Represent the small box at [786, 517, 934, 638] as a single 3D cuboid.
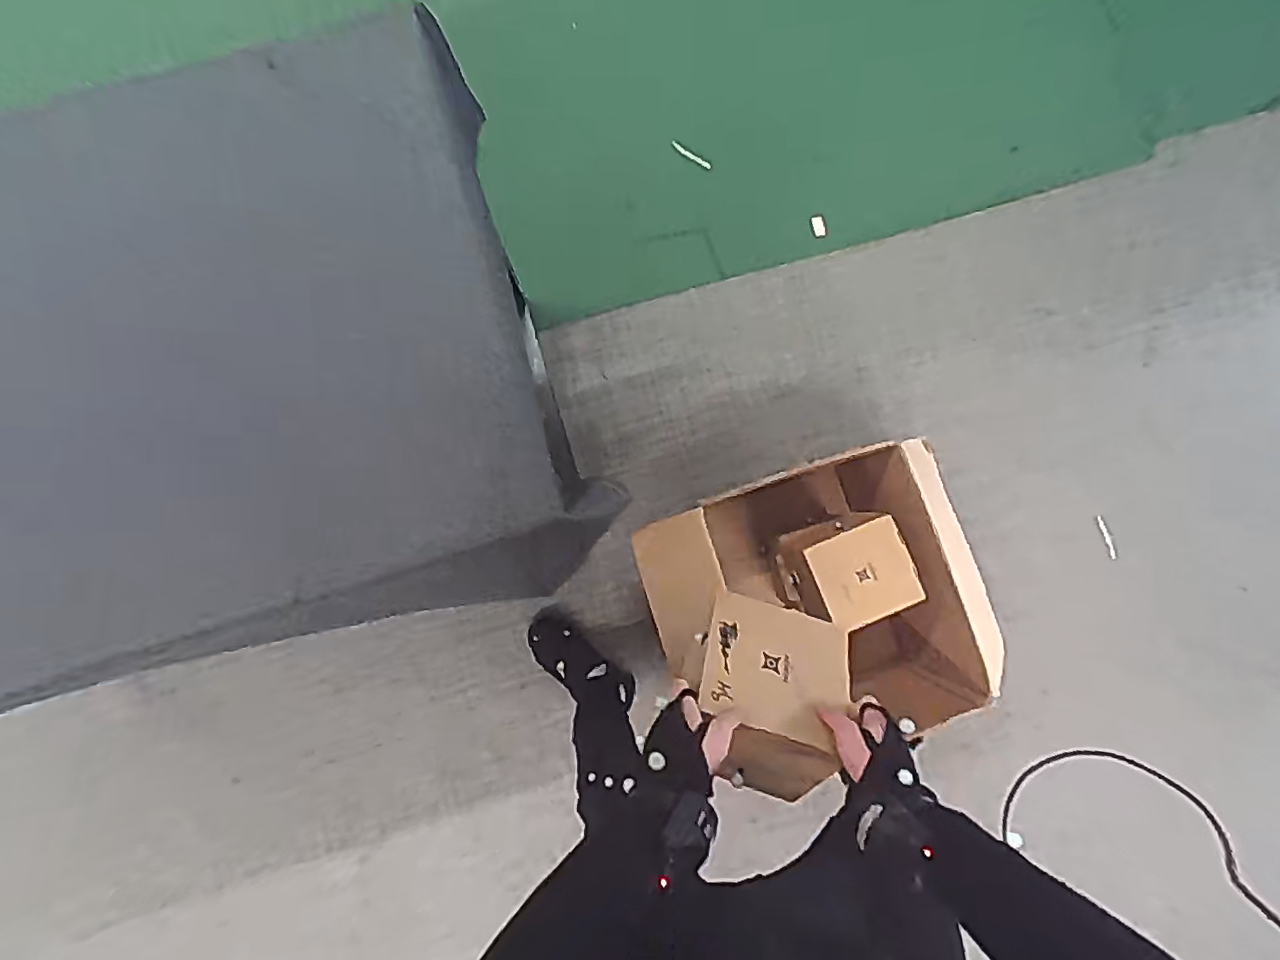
[{"bbox_3d":[0.404,0.174,1.023,0.179,0.176,0.168,-22,88,-2],"label":"small box"}]
